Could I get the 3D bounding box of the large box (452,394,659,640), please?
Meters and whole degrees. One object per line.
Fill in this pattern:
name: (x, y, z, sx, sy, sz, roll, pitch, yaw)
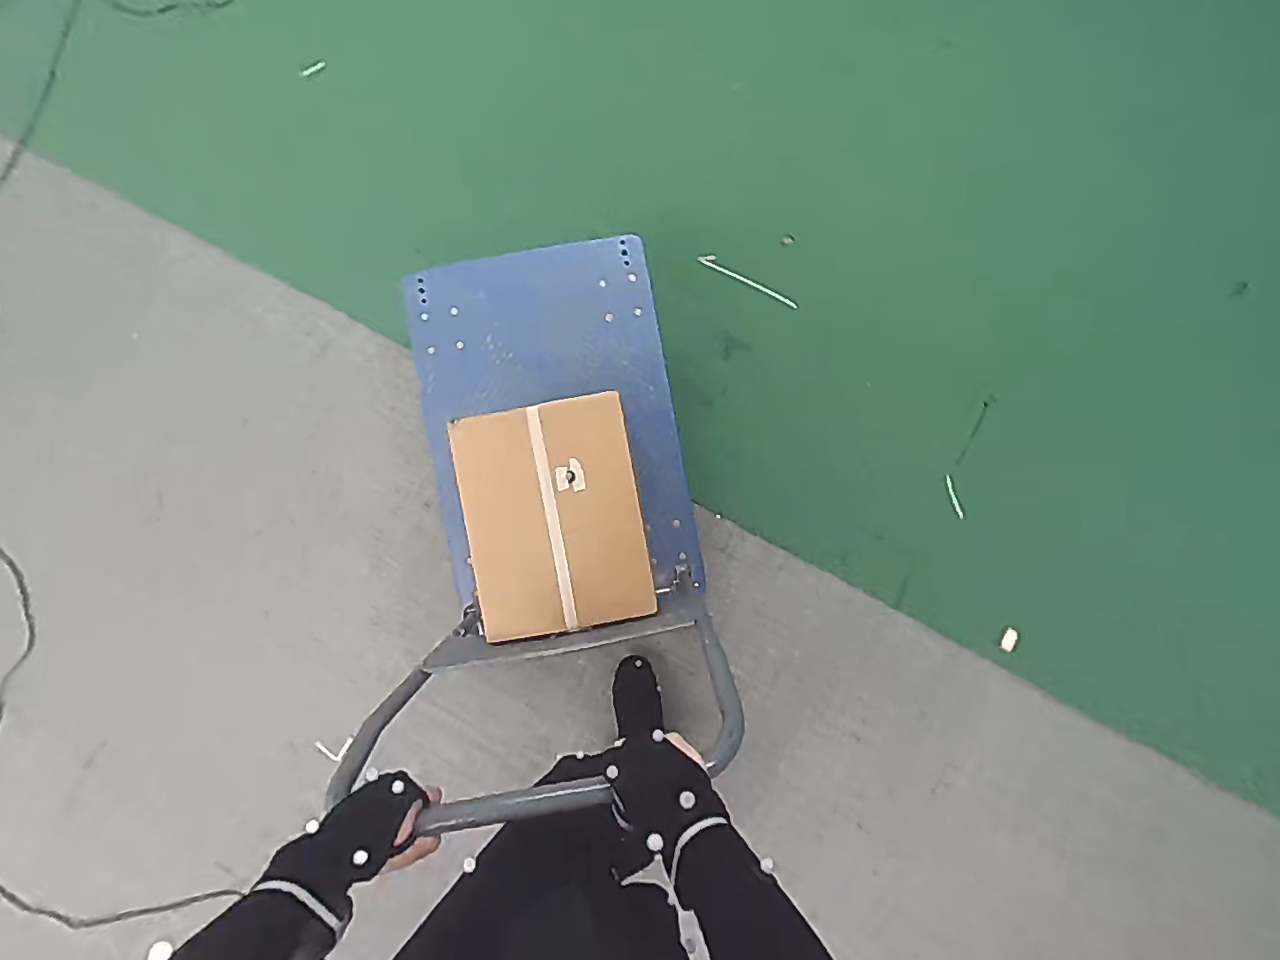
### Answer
large box: (-0.150, 0.069, 1.115, 0.320, 0.320, 0.408, -10, 89, 0)
